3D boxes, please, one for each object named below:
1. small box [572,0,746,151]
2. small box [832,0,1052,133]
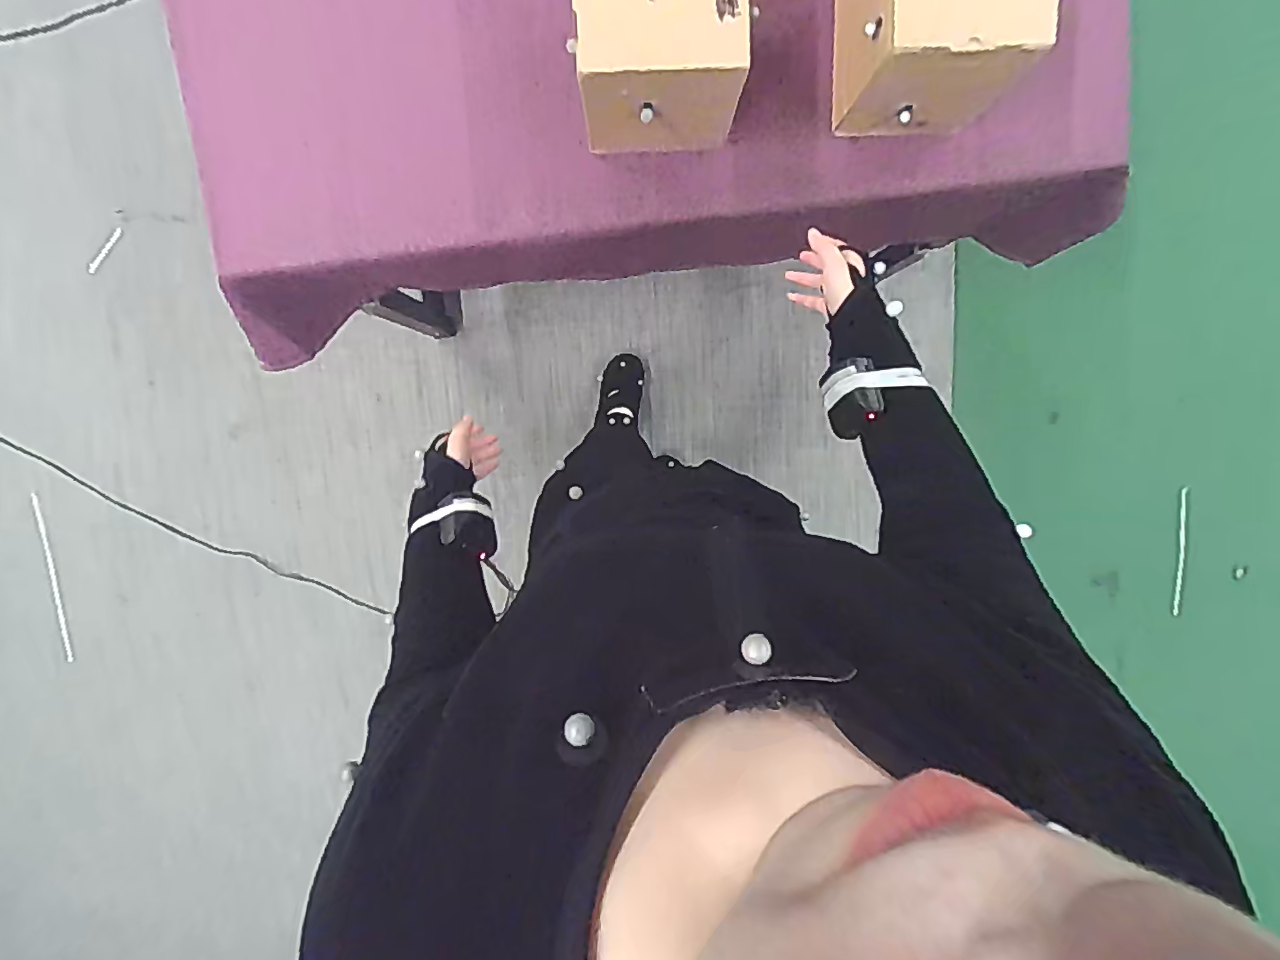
[{"bbox_3d":[0.019,-0.500,0.616,0.179,0.176,0.168,-3,97,1],"label":"small box"},{"bbox_3d":[0.329,-0.531,0.615,0.168,0.176,0.179,-2,97,0],"label":"small box"}]
